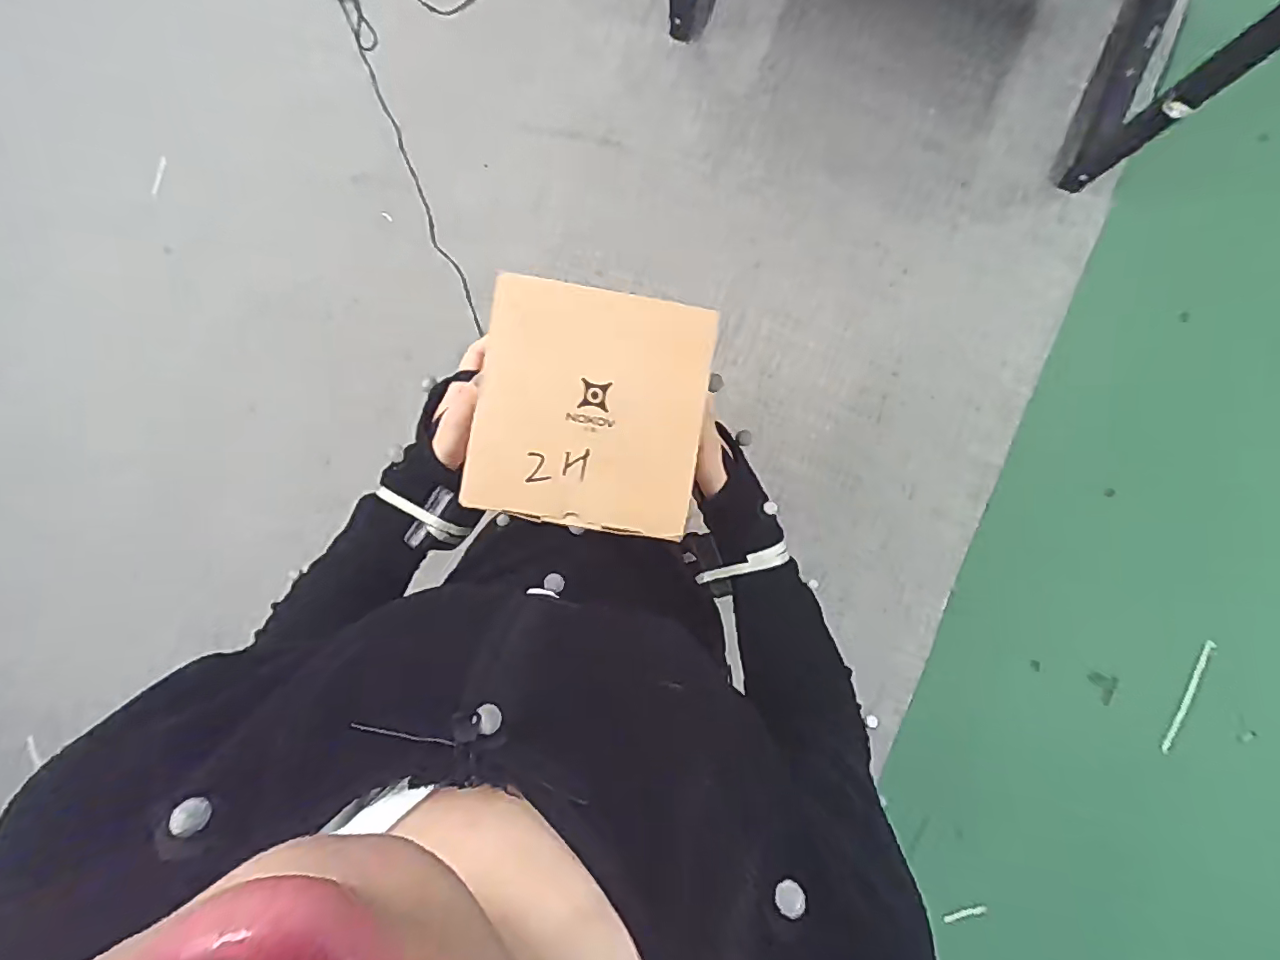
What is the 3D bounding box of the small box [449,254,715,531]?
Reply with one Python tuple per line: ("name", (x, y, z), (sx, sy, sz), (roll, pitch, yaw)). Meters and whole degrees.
("small box", (-0.044, -0.058, 0.458), (0.168, 0.176, 0.179), (9, 88, -2))
